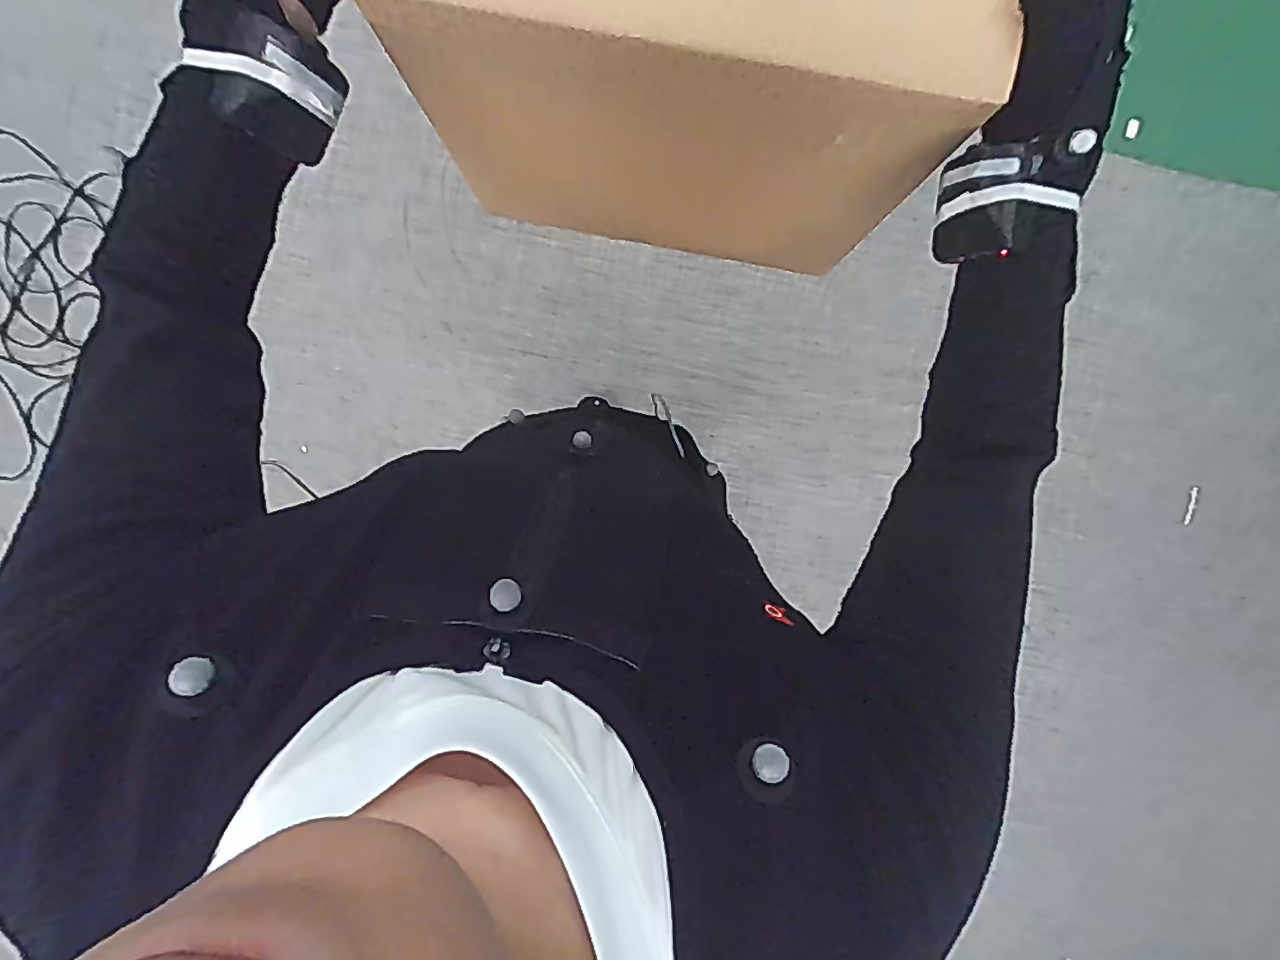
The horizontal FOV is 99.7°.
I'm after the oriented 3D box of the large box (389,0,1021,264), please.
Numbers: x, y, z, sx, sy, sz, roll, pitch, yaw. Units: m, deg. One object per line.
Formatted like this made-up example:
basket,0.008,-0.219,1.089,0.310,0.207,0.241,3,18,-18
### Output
large box,0.051,-0.423,0.476,0.408,0.320,0.320,9,93,-2
